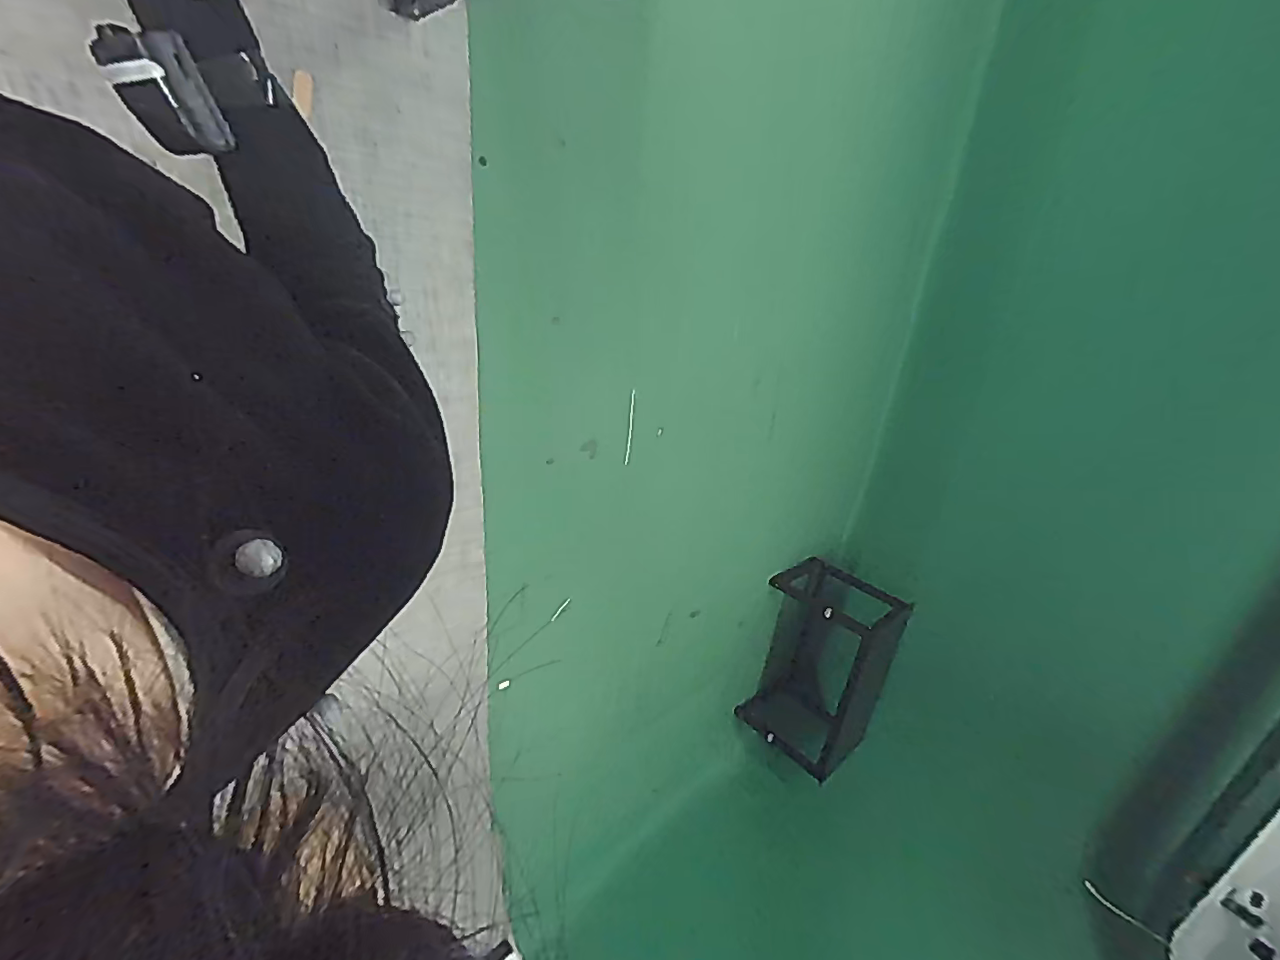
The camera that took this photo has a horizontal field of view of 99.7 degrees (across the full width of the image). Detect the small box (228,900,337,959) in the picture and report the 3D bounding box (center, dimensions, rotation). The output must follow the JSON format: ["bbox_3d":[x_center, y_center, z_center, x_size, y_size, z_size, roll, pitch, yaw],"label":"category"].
[{"bbox_3d":[-0.875,1.193,1.332,0.168,0.176,0.179,-31,131,-32],"label":"small box"}]
